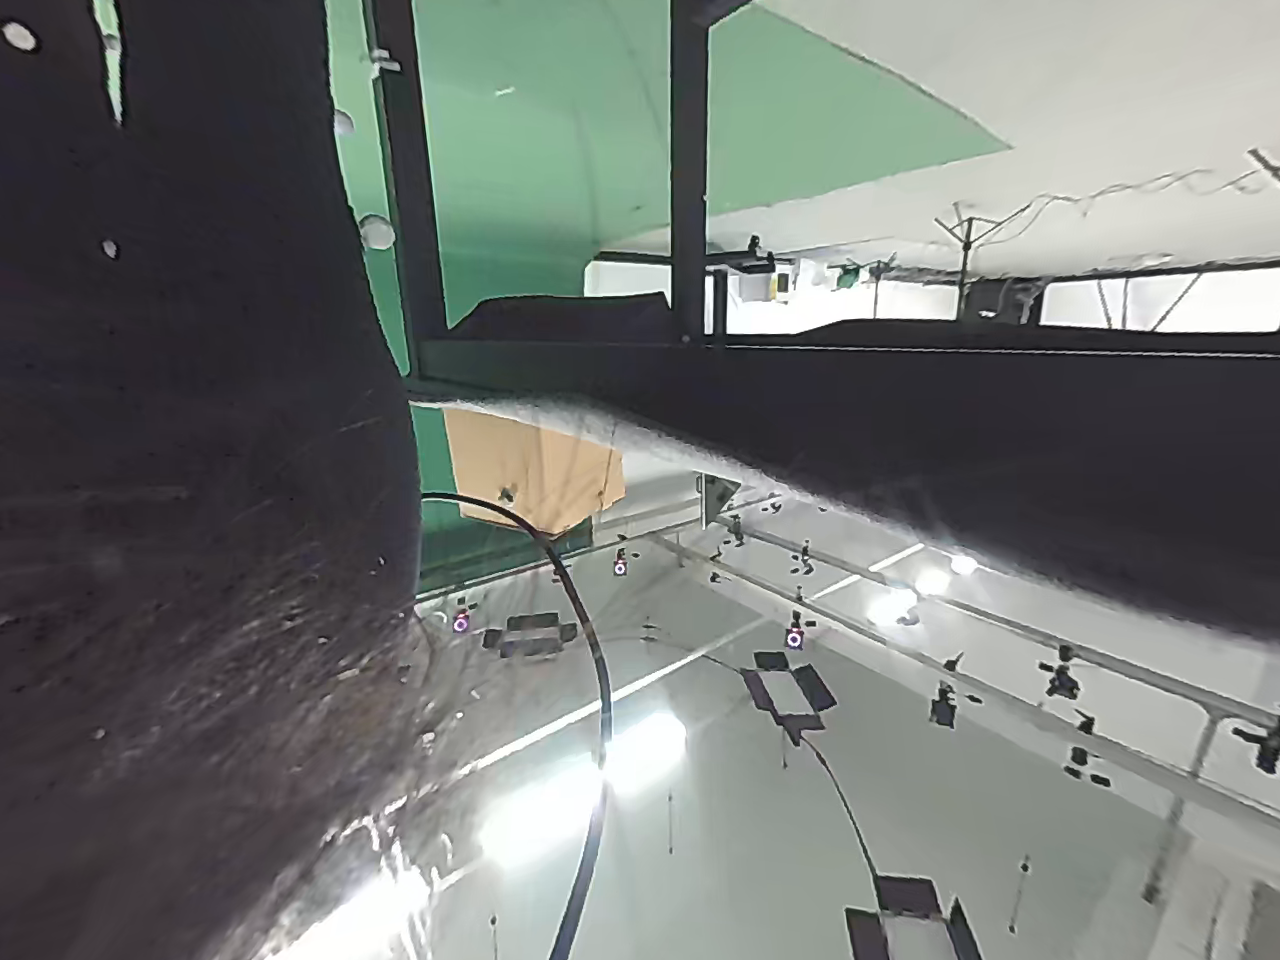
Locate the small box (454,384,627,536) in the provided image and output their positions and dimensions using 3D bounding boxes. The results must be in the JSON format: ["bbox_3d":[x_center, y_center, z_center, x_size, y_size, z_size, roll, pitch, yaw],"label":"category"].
[{"bbox_3d":[-0.139,-0.039,0.763,0.179,0.176,0.168,7,-160,31],"label":"small box"}]
